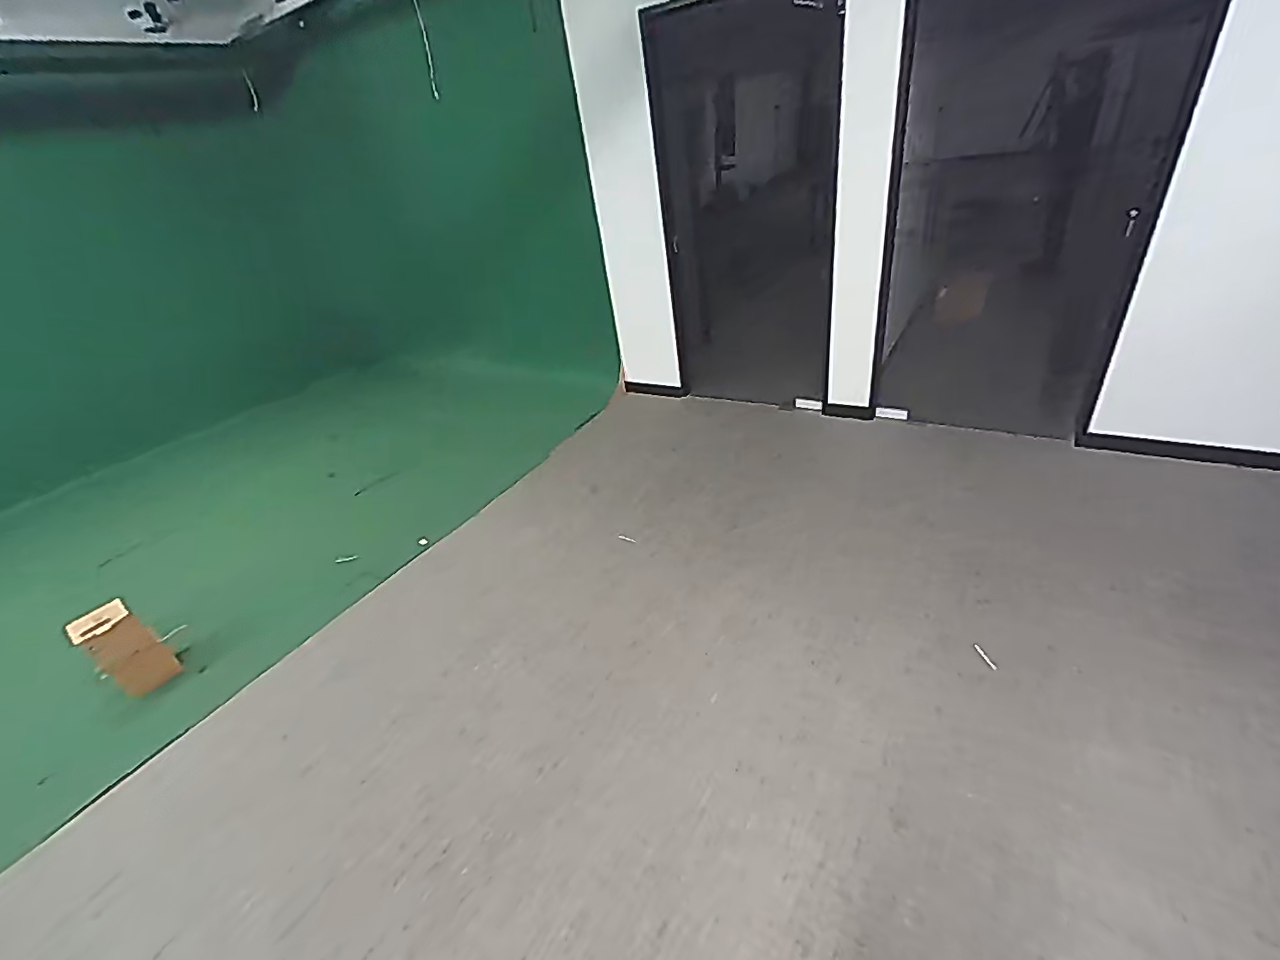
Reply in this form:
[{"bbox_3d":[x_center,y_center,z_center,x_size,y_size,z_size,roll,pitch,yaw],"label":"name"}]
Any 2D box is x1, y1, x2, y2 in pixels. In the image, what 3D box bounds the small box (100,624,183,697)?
[{"bbox_3d":[-1.948,0.707,2.123,0.168,0.176,0.179,16,41,34],"label":"small box"}]
